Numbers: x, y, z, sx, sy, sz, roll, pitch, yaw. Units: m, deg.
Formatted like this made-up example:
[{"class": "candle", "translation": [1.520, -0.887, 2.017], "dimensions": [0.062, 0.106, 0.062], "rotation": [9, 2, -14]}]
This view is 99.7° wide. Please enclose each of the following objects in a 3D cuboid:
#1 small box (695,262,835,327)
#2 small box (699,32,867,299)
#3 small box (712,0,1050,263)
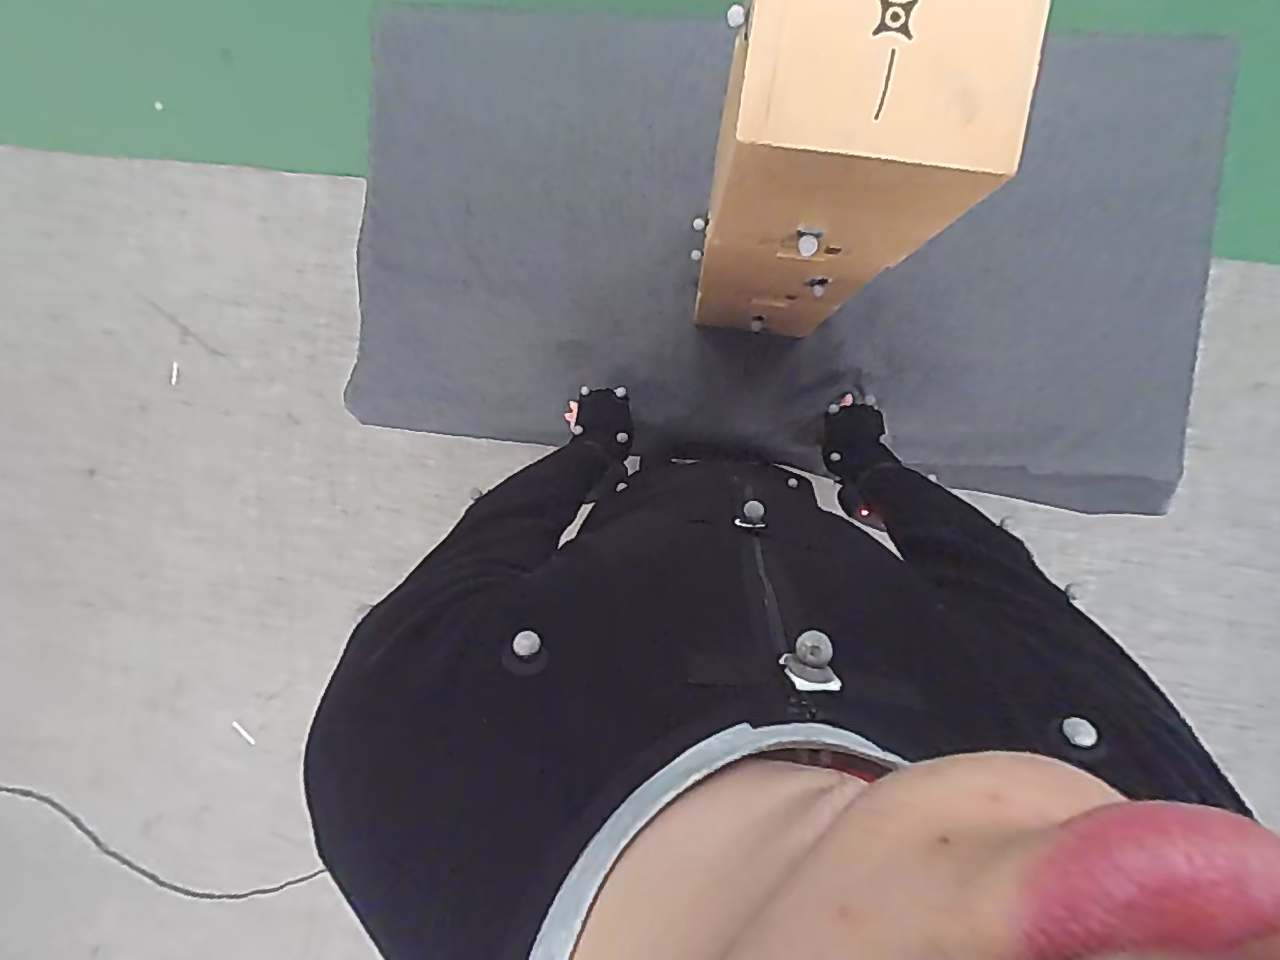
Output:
[{"class": "small box", "translation": [0.165, -0.307, 0.708], "dimensions": [0.168, 0.176, 0.179], "rotation": [8, 95, 2]}, {"class": "small box", "translation": [0.153, -0.295, 0.546], "dimensions": [0.168, 0.176, 0.179], "rotation": [7, 94, 1]}, {"class": "small box", "translation": [0.148, -0.277, 0.383], "dimensions": [0.168, 0.176, 0.179], "rotation": [9, 96, 2]}]
